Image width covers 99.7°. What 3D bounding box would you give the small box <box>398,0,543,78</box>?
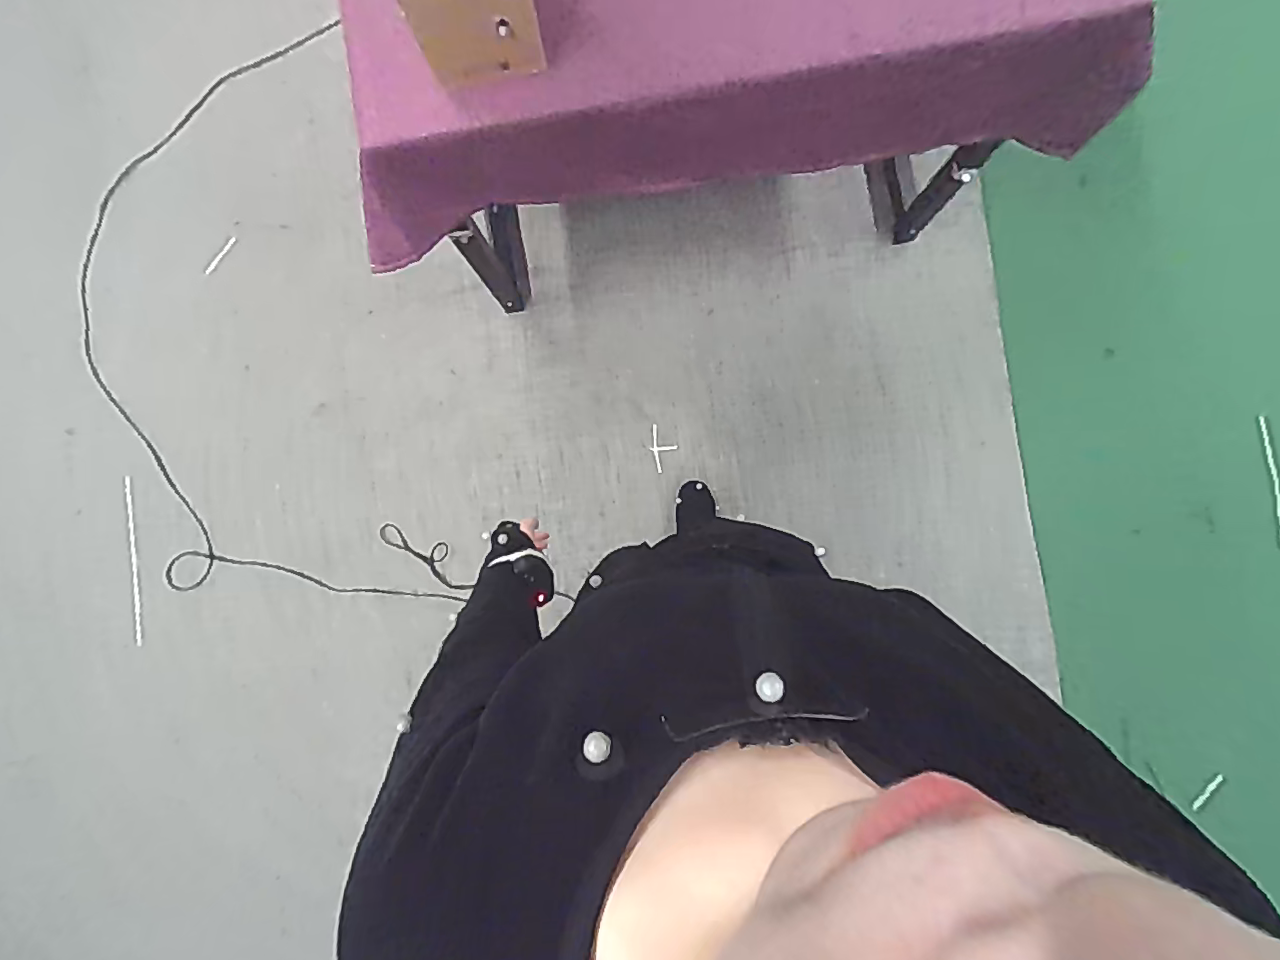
[{"bbox_3d":[-0.239,-0.699,0.748,0.168,0.176,0.179,-11,86,0],"label":"small box"}]
